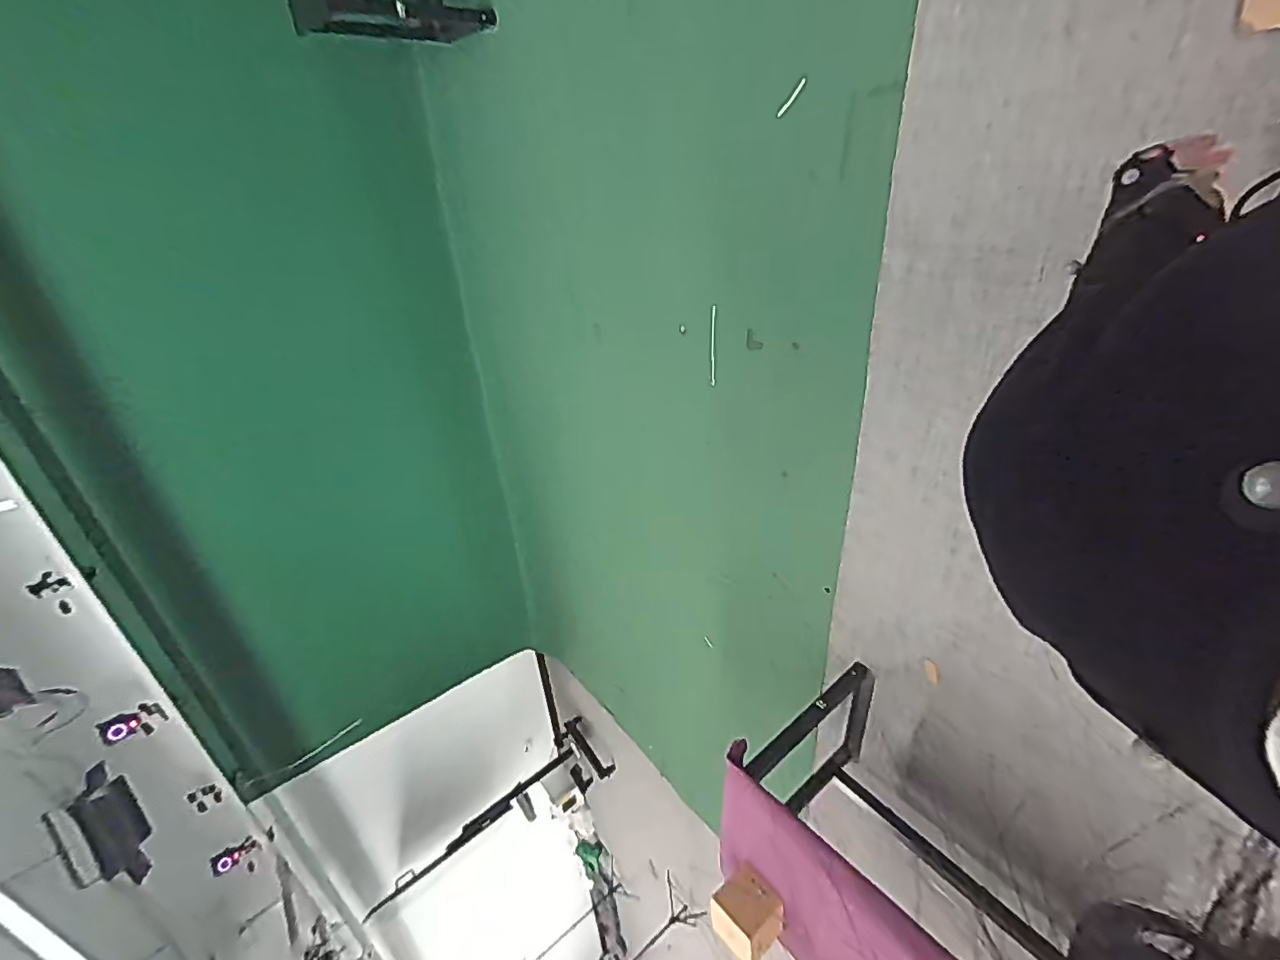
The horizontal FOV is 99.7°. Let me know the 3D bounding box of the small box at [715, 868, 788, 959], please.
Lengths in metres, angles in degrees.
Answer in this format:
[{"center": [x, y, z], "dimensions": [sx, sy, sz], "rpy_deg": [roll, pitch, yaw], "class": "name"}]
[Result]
[{"center": [0.362, 1.421, 1.749], "dimensions": [0.168, 0.176, 0.179], "rpy_deg": [23, 126, 46], "class": "small box"}]
